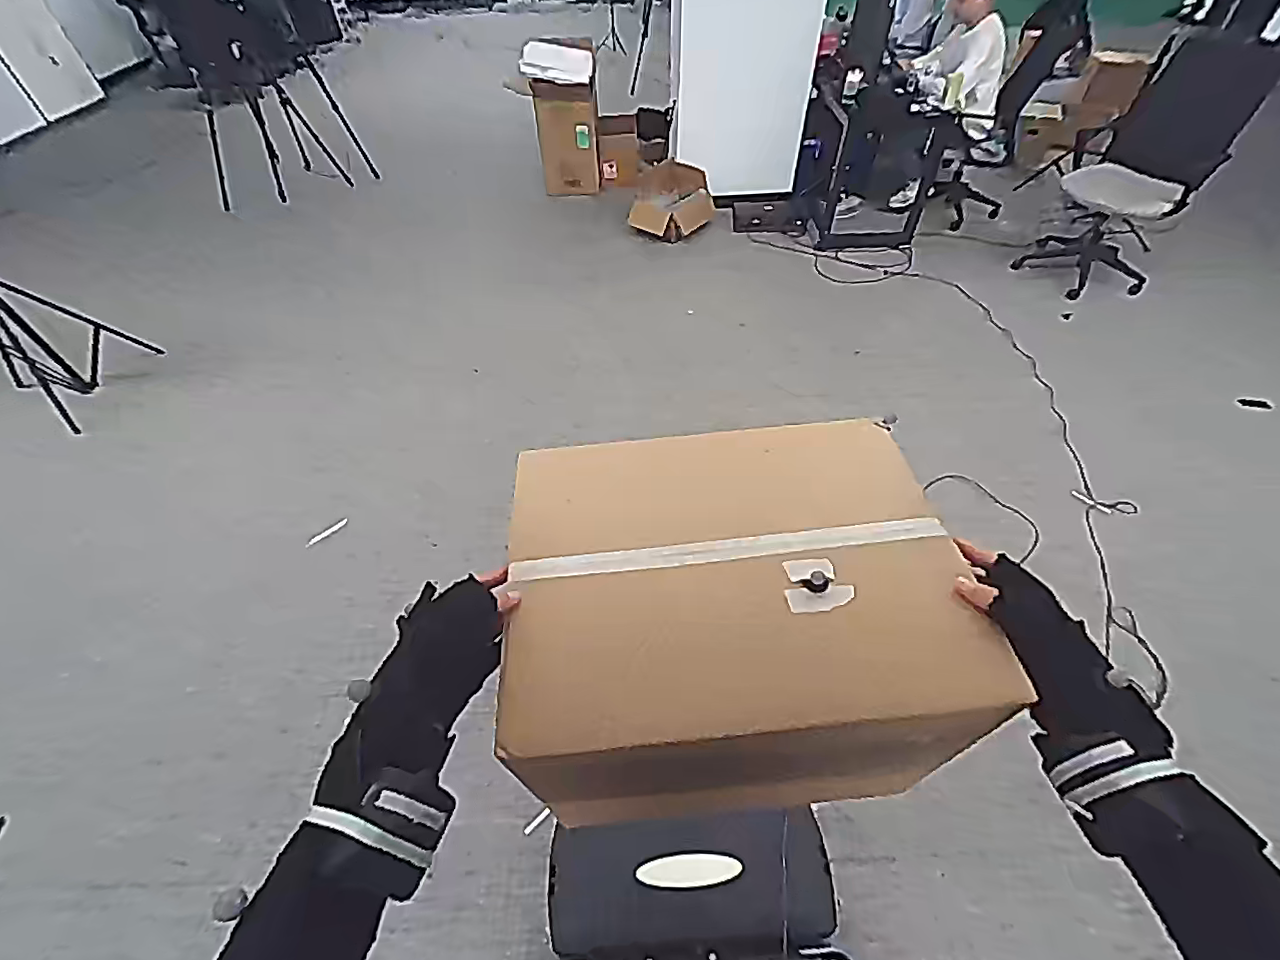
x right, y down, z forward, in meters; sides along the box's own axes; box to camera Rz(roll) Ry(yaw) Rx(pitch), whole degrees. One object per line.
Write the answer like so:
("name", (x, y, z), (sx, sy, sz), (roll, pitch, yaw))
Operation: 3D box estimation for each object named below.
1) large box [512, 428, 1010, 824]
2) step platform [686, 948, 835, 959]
("large box", (0.088, 0.171, 0.625), (0.408, 0.320, 0.320), (-5, 49, -2))
("step platform", (0.099, 1.148, 1.082), (0.684, 0.204, 0.286), (-4, 49, 0))
